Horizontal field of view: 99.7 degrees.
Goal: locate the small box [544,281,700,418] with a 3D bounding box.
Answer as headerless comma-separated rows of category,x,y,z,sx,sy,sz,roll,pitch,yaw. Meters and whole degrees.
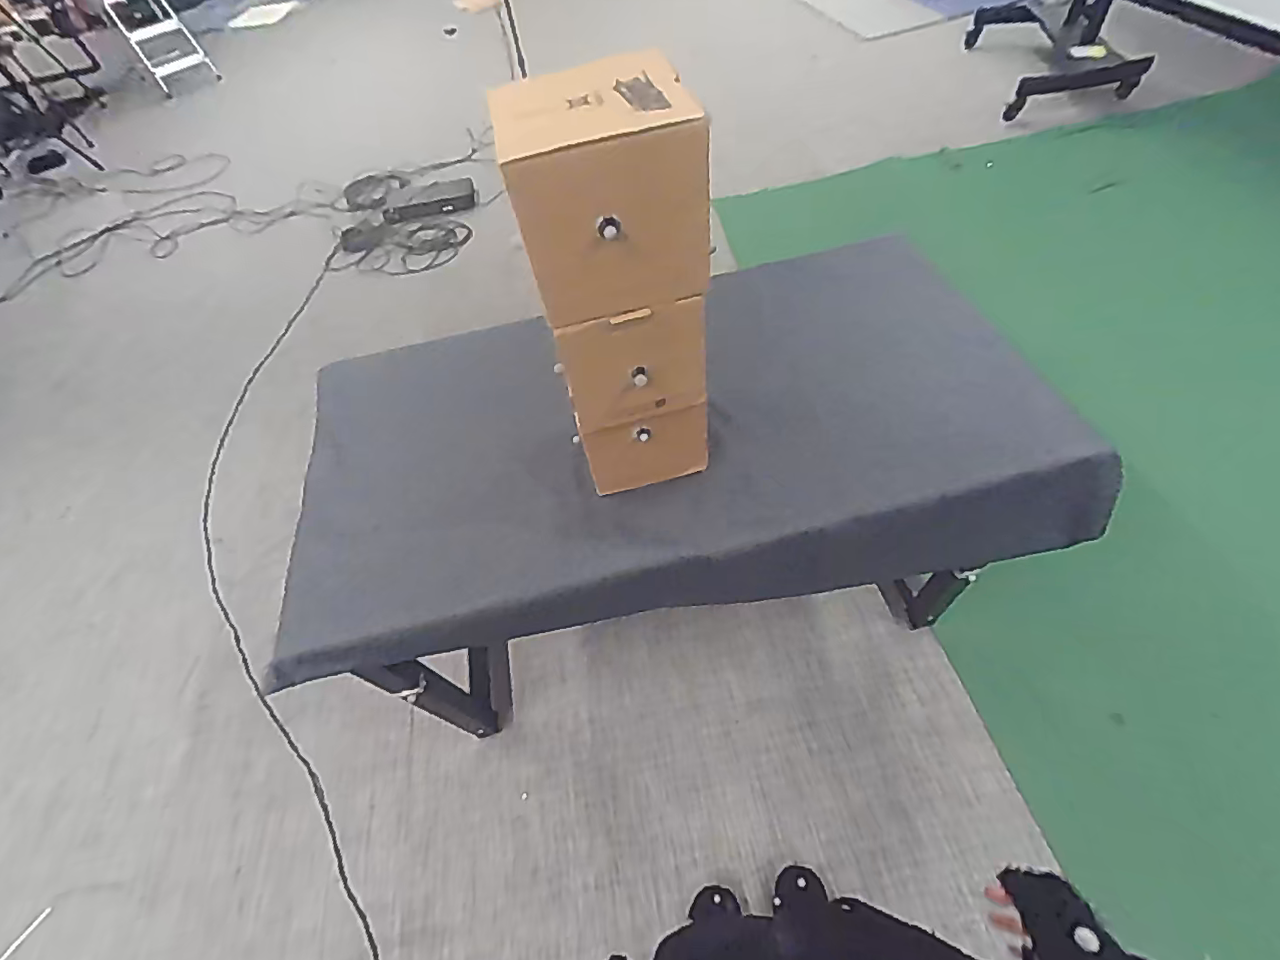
small box,-0.026,-0.196,0.673,0.168,0.176,0.179,-15,56,-2

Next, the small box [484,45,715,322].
small box,-0.037,-0.286,0.535,0.179,0.176,0.168,-15,56,-4

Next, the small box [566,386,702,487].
small box,-0.010,-0.109,0.810,0.179,0.176,0.168,-13,56,-3
